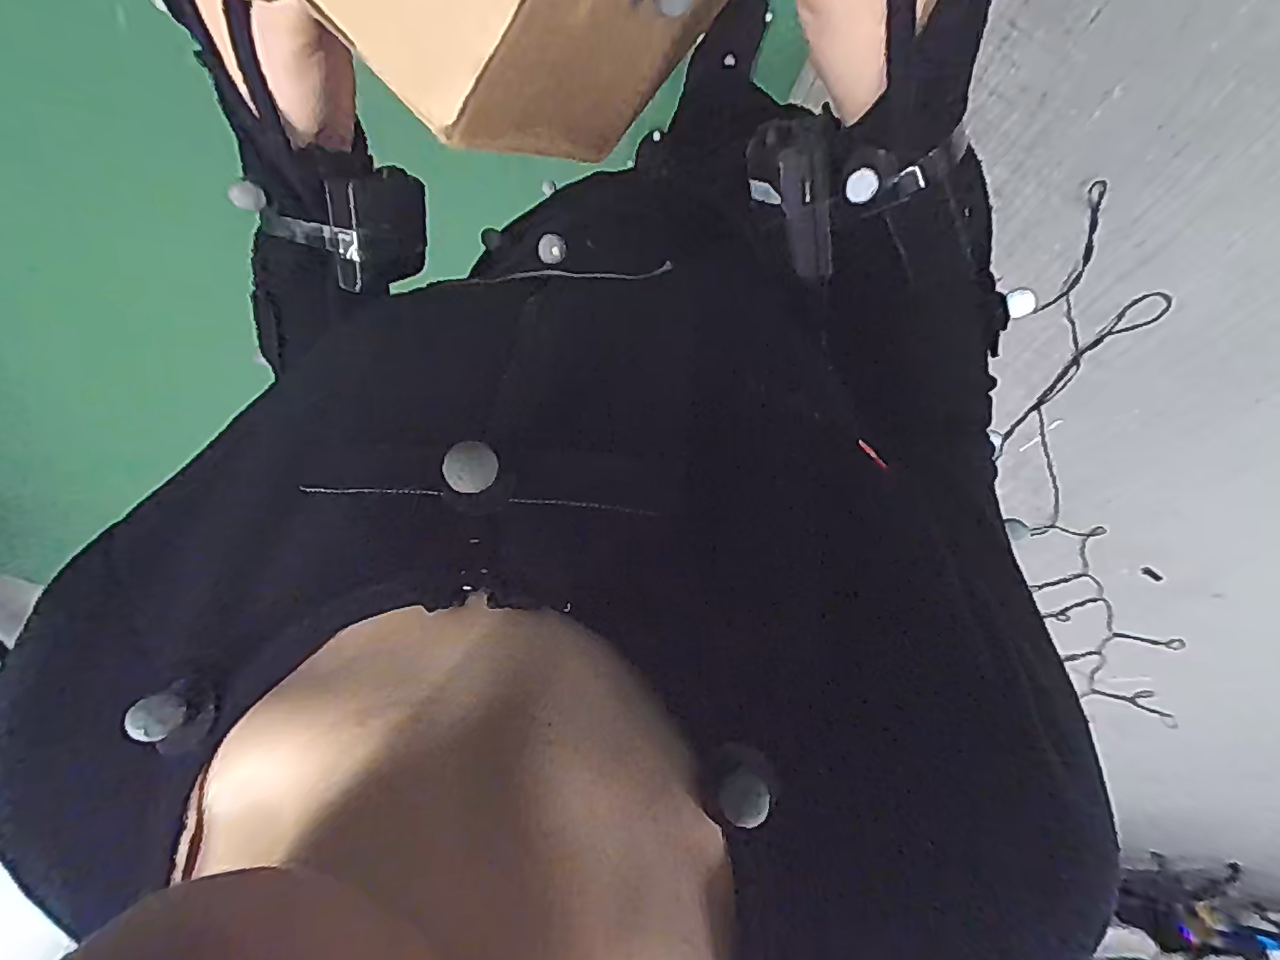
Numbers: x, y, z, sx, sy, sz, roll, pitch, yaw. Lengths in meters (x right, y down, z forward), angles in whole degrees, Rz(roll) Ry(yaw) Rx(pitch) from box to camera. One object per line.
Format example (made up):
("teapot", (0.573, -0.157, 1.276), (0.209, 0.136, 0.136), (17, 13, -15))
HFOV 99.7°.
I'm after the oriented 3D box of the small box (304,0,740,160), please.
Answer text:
("small box", (-0.034, -0.237, 0.178), (0.168, 0.176, 0.179), (44, 119, -13))
